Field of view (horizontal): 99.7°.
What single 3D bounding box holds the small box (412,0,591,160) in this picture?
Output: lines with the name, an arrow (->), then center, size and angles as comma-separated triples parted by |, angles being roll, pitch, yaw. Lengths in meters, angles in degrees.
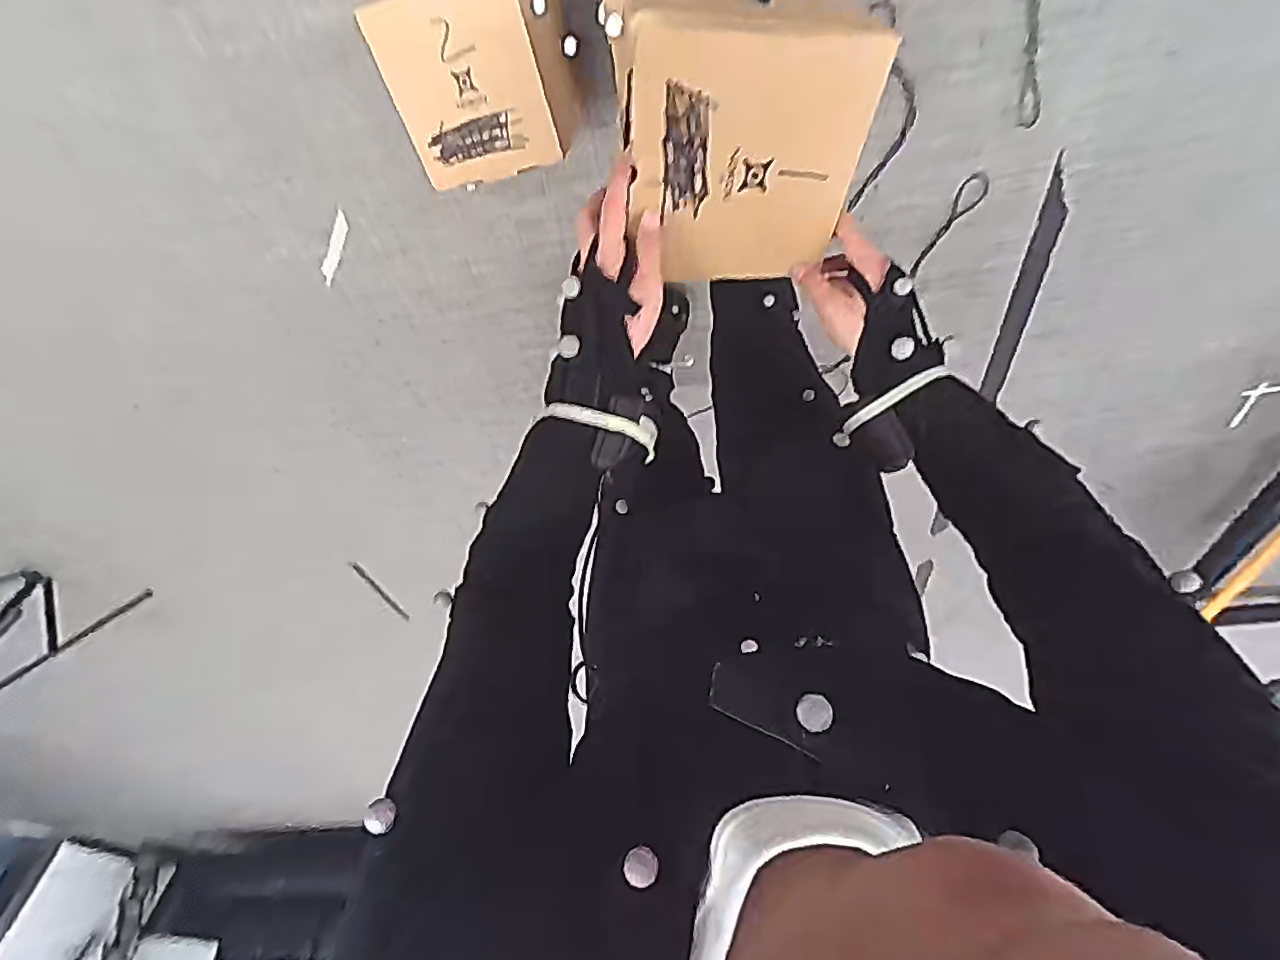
small box -> -0.176, -0.584, 0.749 | 0.168, 0.176, 0.179 | -12, 135, 13

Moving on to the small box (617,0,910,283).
small box -> 0.072, -0.282, 0.437 | 0.179, 0.176, 0.168 | 1, 141, -4
